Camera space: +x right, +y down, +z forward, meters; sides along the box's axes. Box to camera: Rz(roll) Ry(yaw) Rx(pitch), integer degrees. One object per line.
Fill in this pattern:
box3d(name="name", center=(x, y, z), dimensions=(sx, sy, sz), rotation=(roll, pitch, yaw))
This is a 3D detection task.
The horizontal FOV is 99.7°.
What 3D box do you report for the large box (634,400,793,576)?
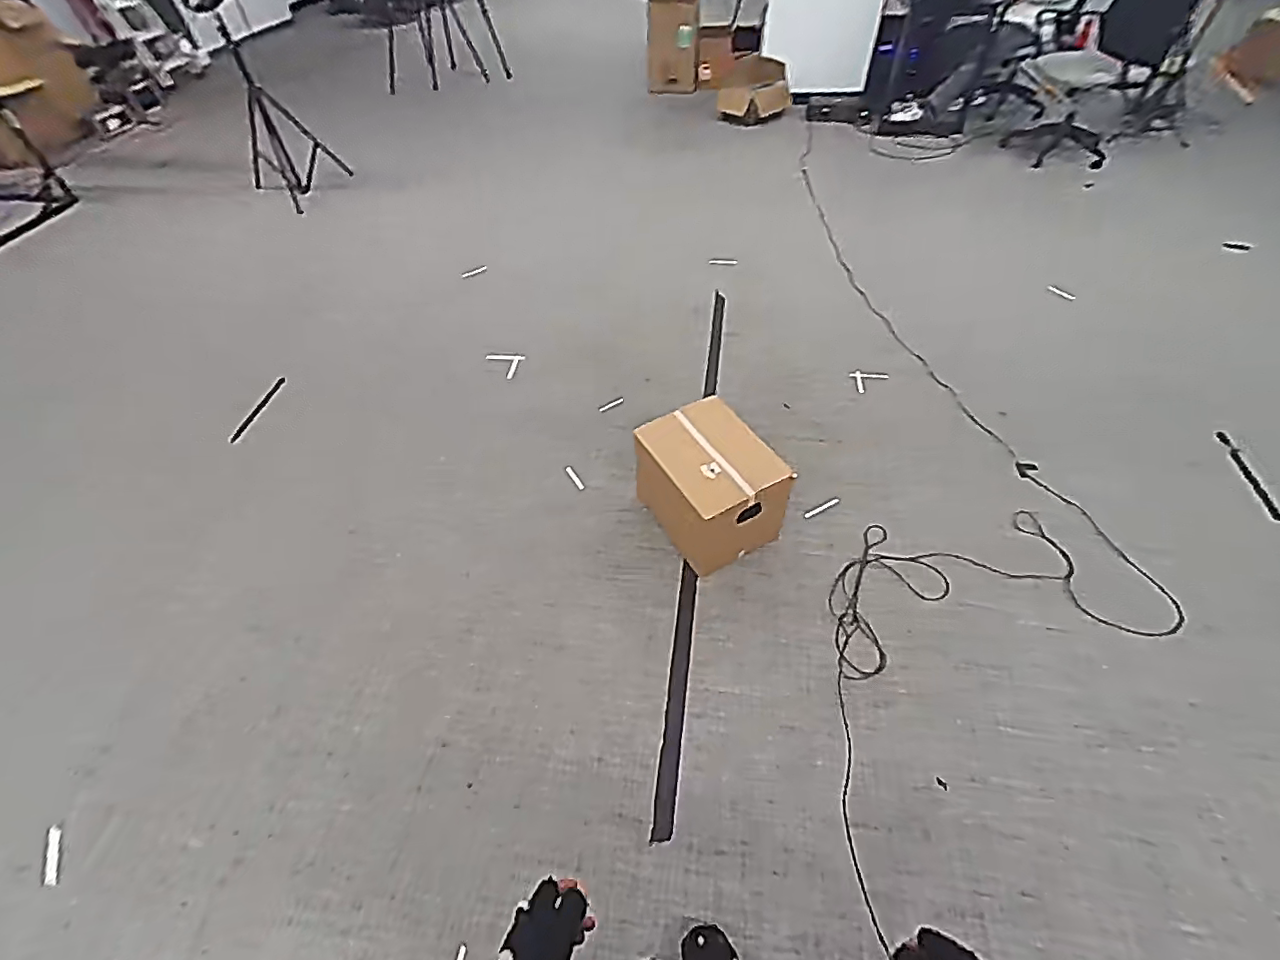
box3d(name="large box", center=(0.210, 0.021, 1.721), dimensions=(0.320, 0.320, 0.408), rotation=(-25, 54, -17))
